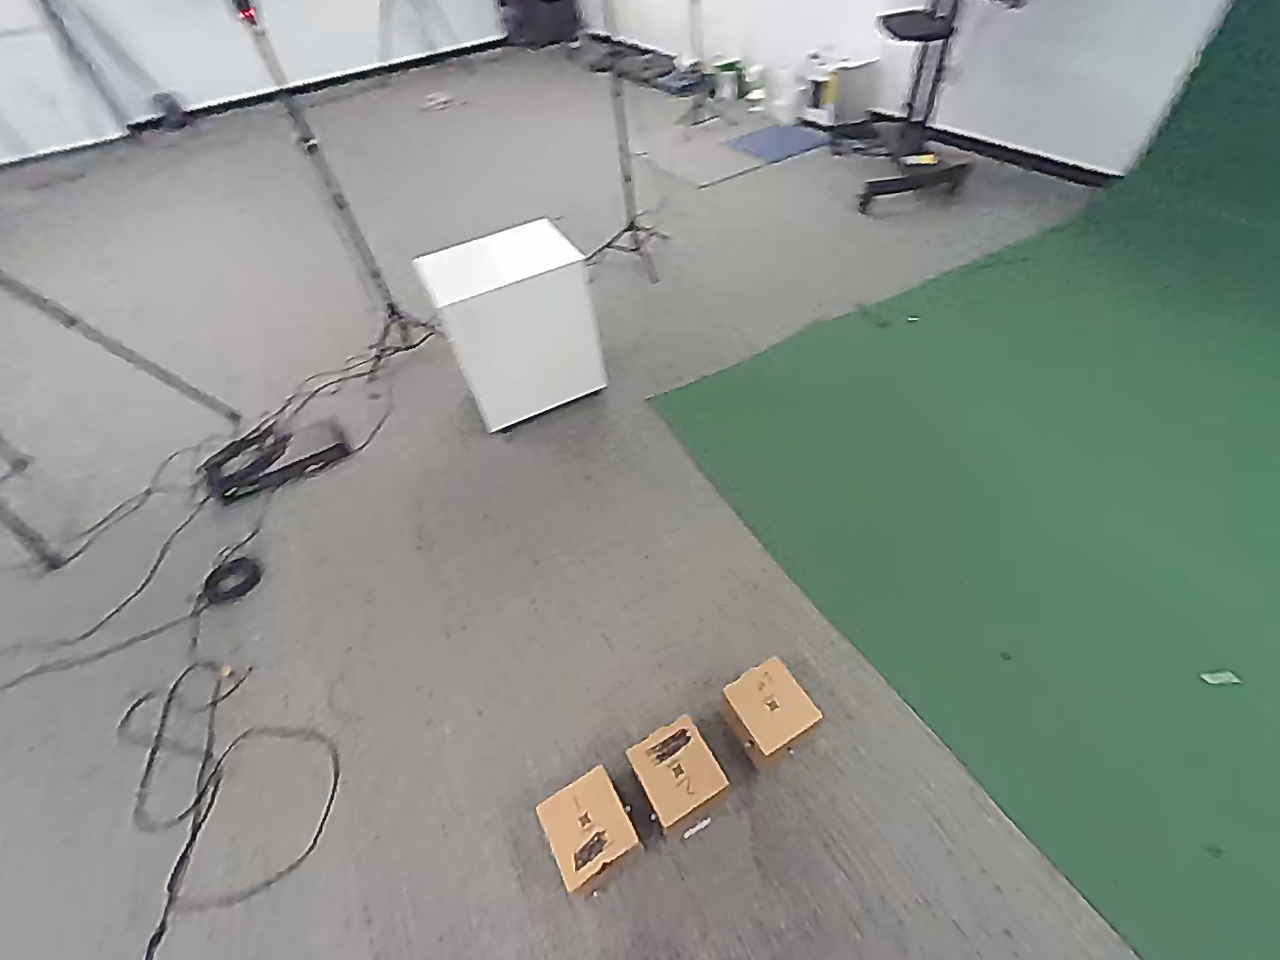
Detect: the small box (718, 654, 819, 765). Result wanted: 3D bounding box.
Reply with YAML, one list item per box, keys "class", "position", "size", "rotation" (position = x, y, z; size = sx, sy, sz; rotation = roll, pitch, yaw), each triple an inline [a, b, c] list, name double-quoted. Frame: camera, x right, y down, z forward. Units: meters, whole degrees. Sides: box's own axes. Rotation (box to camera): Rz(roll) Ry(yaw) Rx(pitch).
- class: "small box"
  position: [0.306, 0.567, 1.320]
  size: [0.168, 0.176, 0.179]
  rotation: [-26, 51, -16]

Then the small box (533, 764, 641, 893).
- class: "small box"
  position: [-0.111, 0.770, 1.191]
  size: [0.168, 0.176, 0.179]
  rotation: [-27, 51, -15]
